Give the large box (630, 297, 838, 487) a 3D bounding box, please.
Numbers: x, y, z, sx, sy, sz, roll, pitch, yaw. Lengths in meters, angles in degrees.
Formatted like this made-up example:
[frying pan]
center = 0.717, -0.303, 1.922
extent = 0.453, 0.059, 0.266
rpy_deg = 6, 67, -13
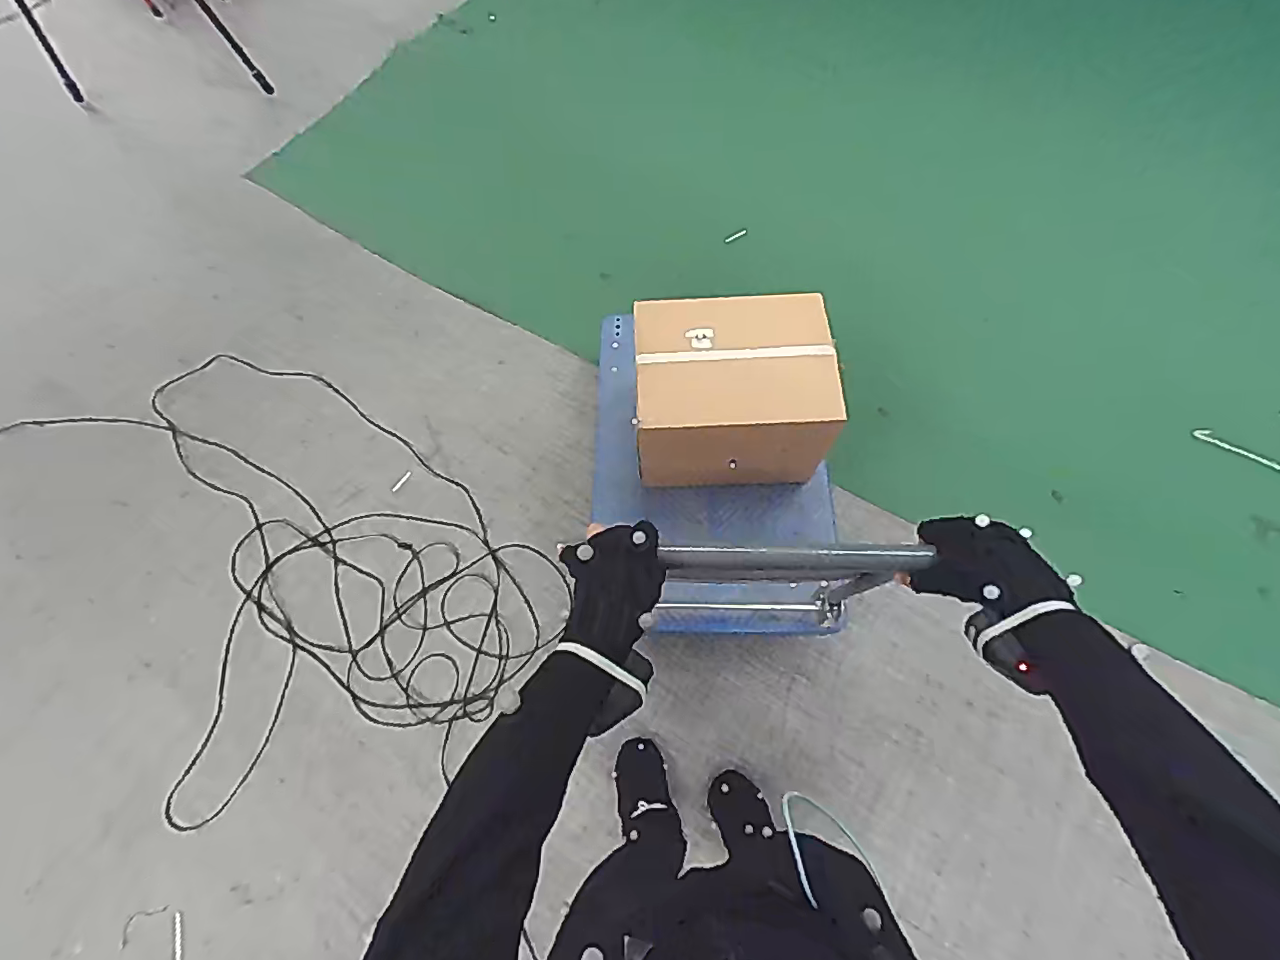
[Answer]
[large box]
center = 0.193, -0.187, 1.254
extent = 0.408, 0.320, 0.320
rpy_deg = -3, 66, 2
